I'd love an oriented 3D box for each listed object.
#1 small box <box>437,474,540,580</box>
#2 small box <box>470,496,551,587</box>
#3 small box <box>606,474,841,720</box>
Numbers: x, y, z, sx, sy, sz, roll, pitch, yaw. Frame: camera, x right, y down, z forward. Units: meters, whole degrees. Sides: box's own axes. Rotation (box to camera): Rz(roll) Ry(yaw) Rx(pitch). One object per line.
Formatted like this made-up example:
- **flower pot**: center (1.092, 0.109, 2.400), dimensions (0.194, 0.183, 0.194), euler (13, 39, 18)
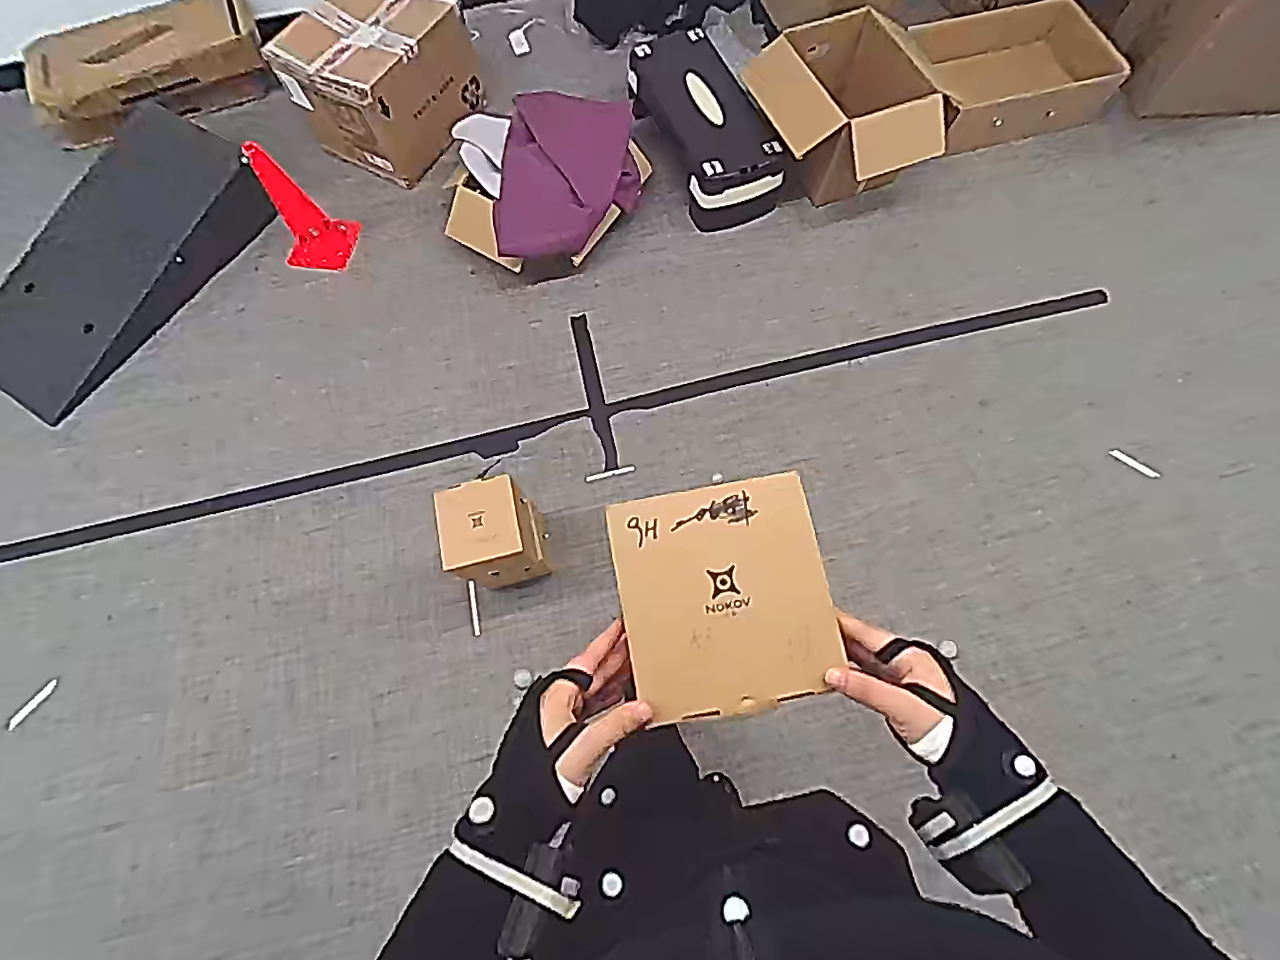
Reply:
- **small box**: center (-0.330, 0.109, 1.195), dimensions (0.168, 0.176, 0.179), euler (-14, 72, -2)
- **small box**: center (-0.326, 0.158, 1.350), dimensions (0.179, 0.176, 0.168), euler (-15, 71, -4)
- **small box**: center (0.066, 0.104, 0.514), dimensions (0.168, 0.176, 0.179), euler (-10, 80, -2)
